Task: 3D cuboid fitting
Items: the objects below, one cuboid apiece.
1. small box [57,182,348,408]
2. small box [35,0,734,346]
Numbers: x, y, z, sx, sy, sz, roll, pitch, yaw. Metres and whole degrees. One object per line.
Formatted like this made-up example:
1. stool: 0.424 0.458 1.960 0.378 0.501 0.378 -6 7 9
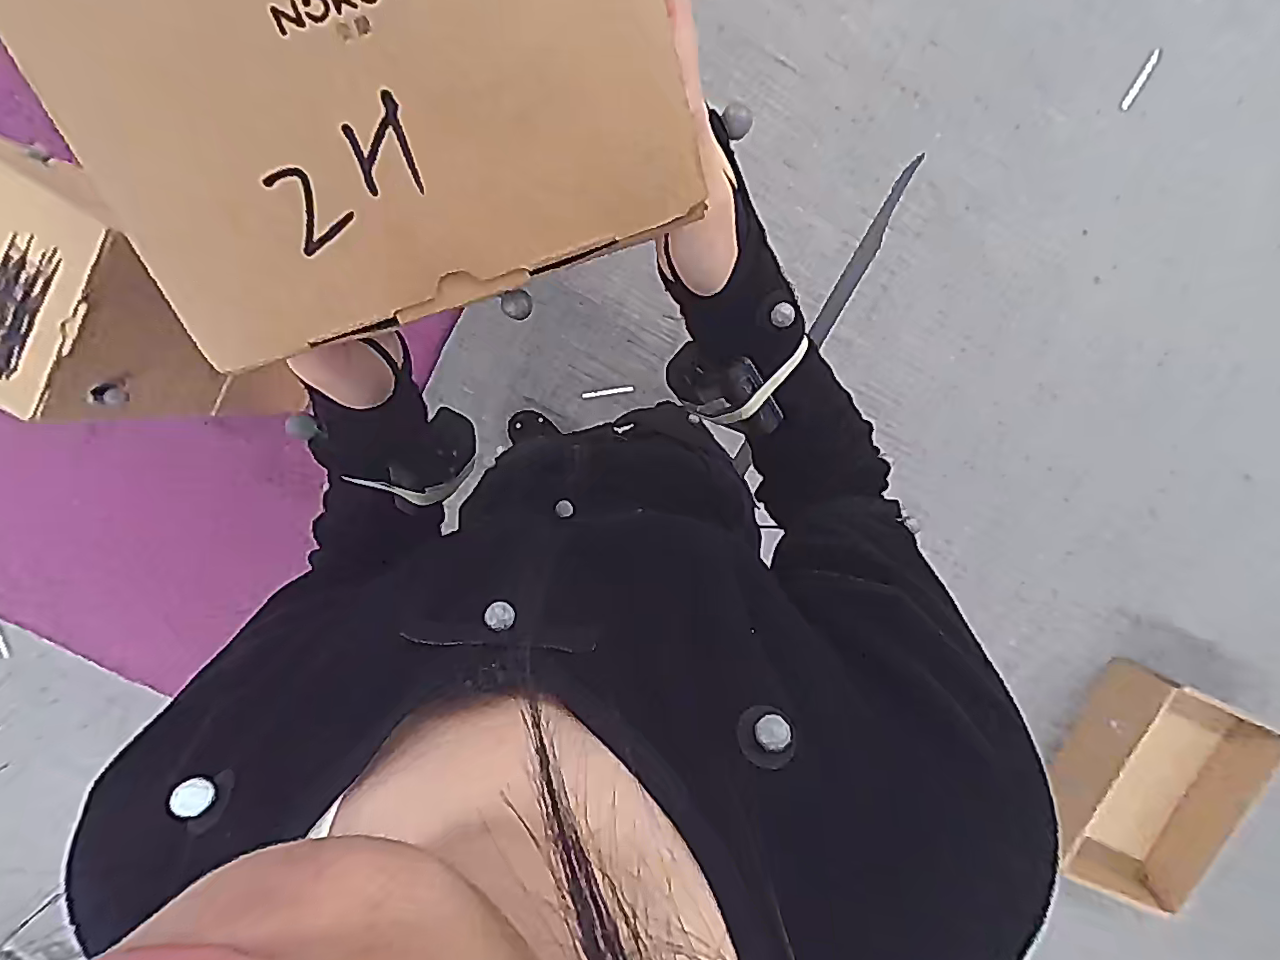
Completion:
1. small box: -0.484 -0.197 0.630 0.179 0.176 0.168 30 98 -6
2. small box: -0.078 -0.168 0.210 0.168 0.176 0.179 -17 113 2
